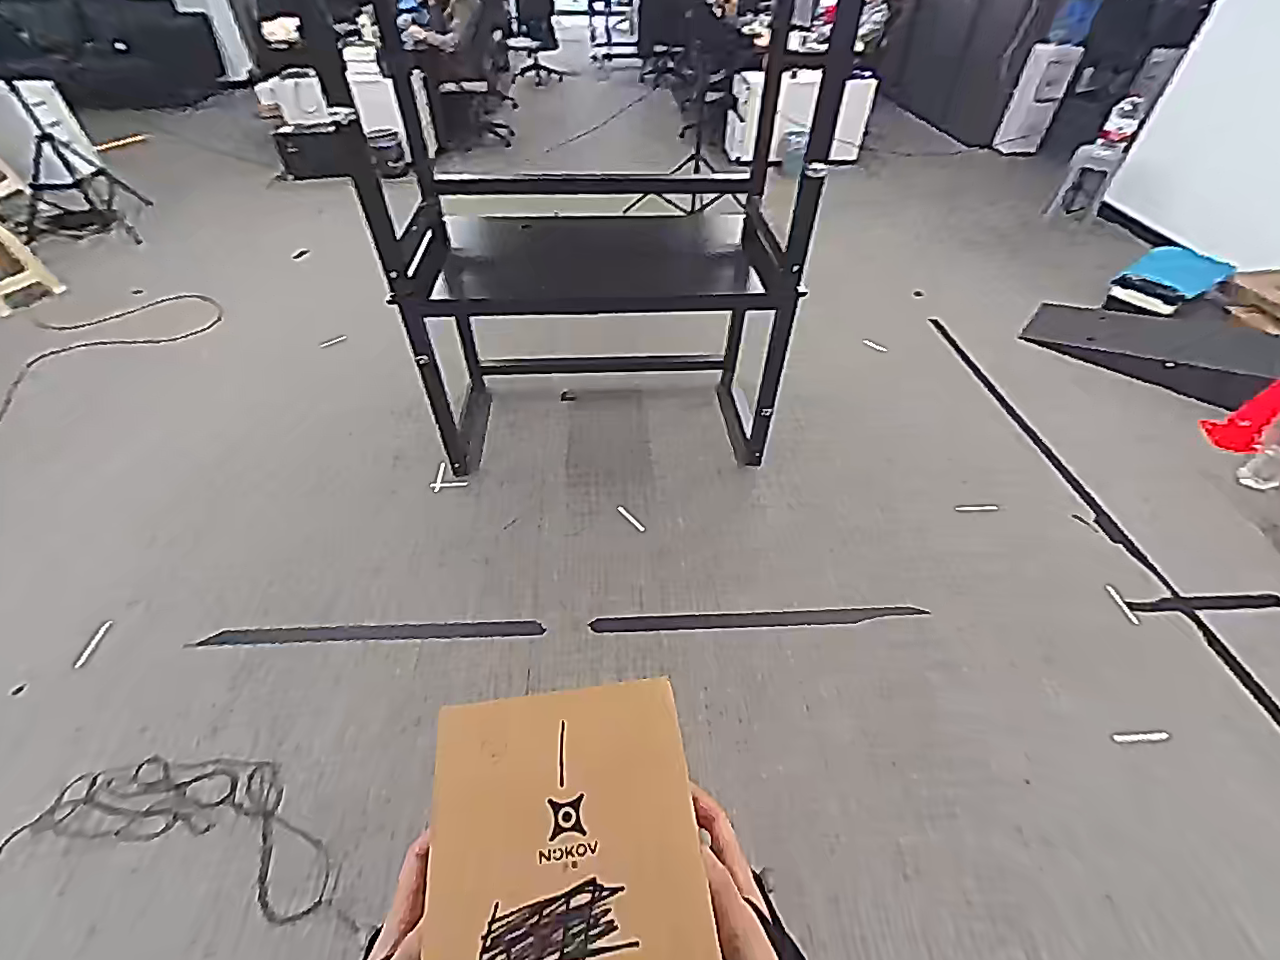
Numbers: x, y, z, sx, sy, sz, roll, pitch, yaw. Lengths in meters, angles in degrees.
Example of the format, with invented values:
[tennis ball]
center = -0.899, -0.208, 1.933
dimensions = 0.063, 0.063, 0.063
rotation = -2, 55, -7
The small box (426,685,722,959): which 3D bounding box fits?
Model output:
[small box]
center = -0.045, 0.272, 0.395
dimensions = 0.168, 0.176, 0.179
rotation = -5, 51, -7
